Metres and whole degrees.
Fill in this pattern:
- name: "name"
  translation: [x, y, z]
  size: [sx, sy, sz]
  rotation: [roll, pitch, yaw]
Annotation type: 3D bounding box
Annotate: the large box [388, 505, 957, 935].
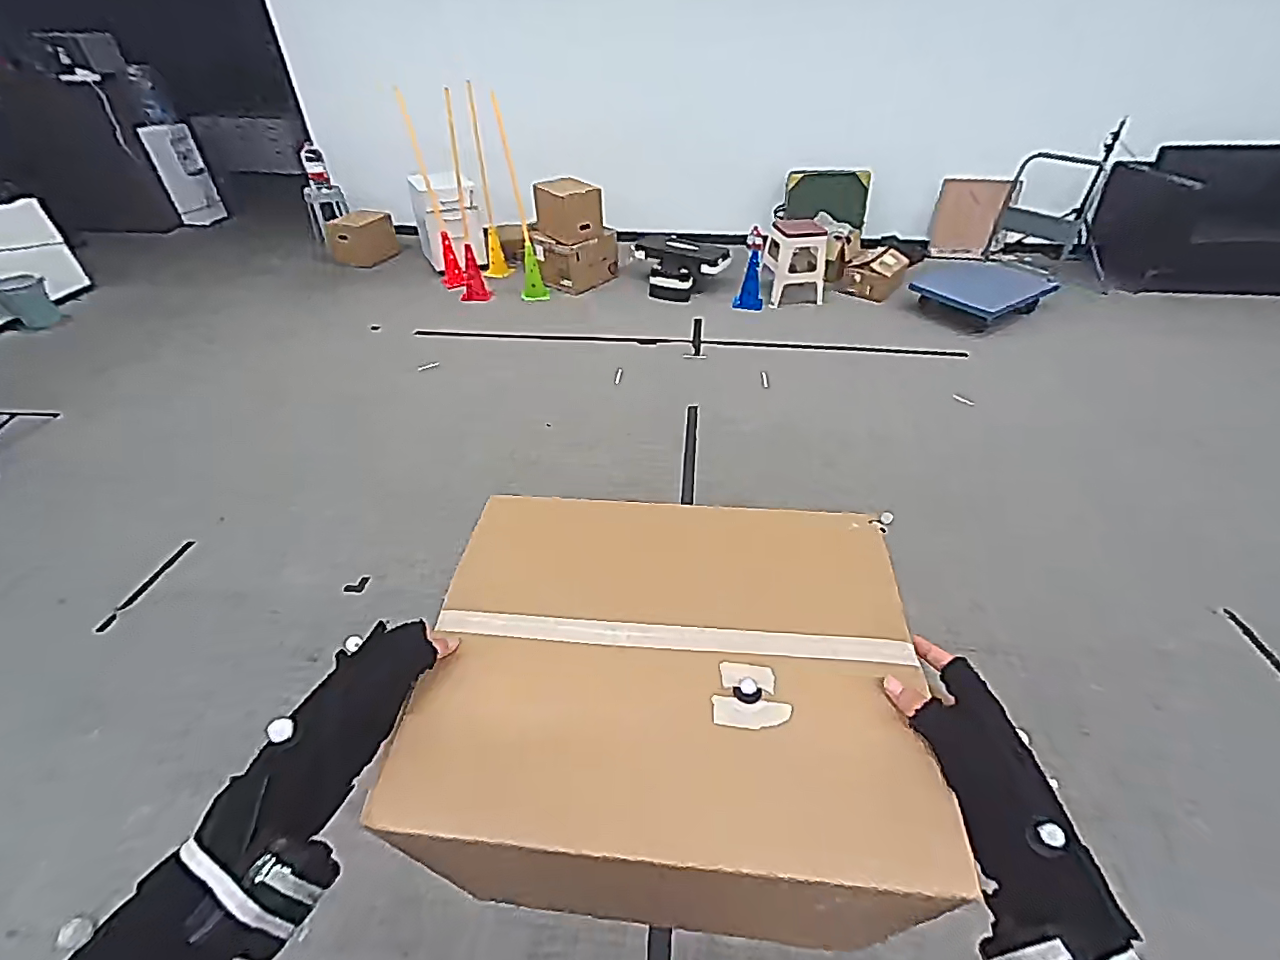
- name: "large box"
  translation: [0.030, 0.248, 0.579]
  size: [0.408, 0.320, 0.320]
  rotation: [3, 45, 6]
